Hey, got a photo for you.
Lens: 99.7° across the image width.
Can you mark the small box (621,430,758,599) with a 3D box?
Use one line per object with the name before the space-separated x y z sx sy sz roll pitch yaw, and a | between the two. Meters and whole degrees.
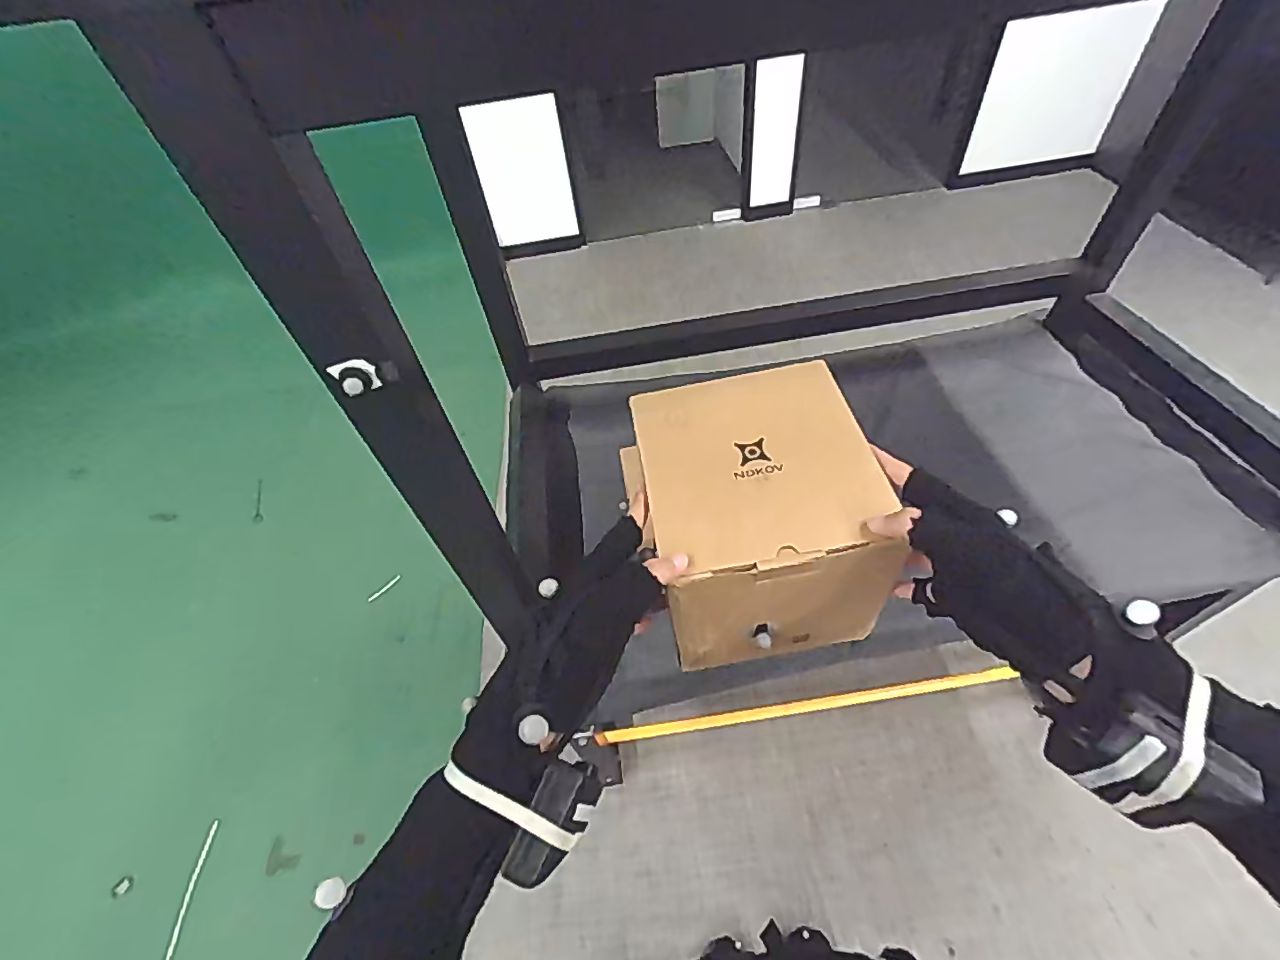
small box | 0.070 0.054 0.818 0.168 0.176 0.179 -11 49 -2
